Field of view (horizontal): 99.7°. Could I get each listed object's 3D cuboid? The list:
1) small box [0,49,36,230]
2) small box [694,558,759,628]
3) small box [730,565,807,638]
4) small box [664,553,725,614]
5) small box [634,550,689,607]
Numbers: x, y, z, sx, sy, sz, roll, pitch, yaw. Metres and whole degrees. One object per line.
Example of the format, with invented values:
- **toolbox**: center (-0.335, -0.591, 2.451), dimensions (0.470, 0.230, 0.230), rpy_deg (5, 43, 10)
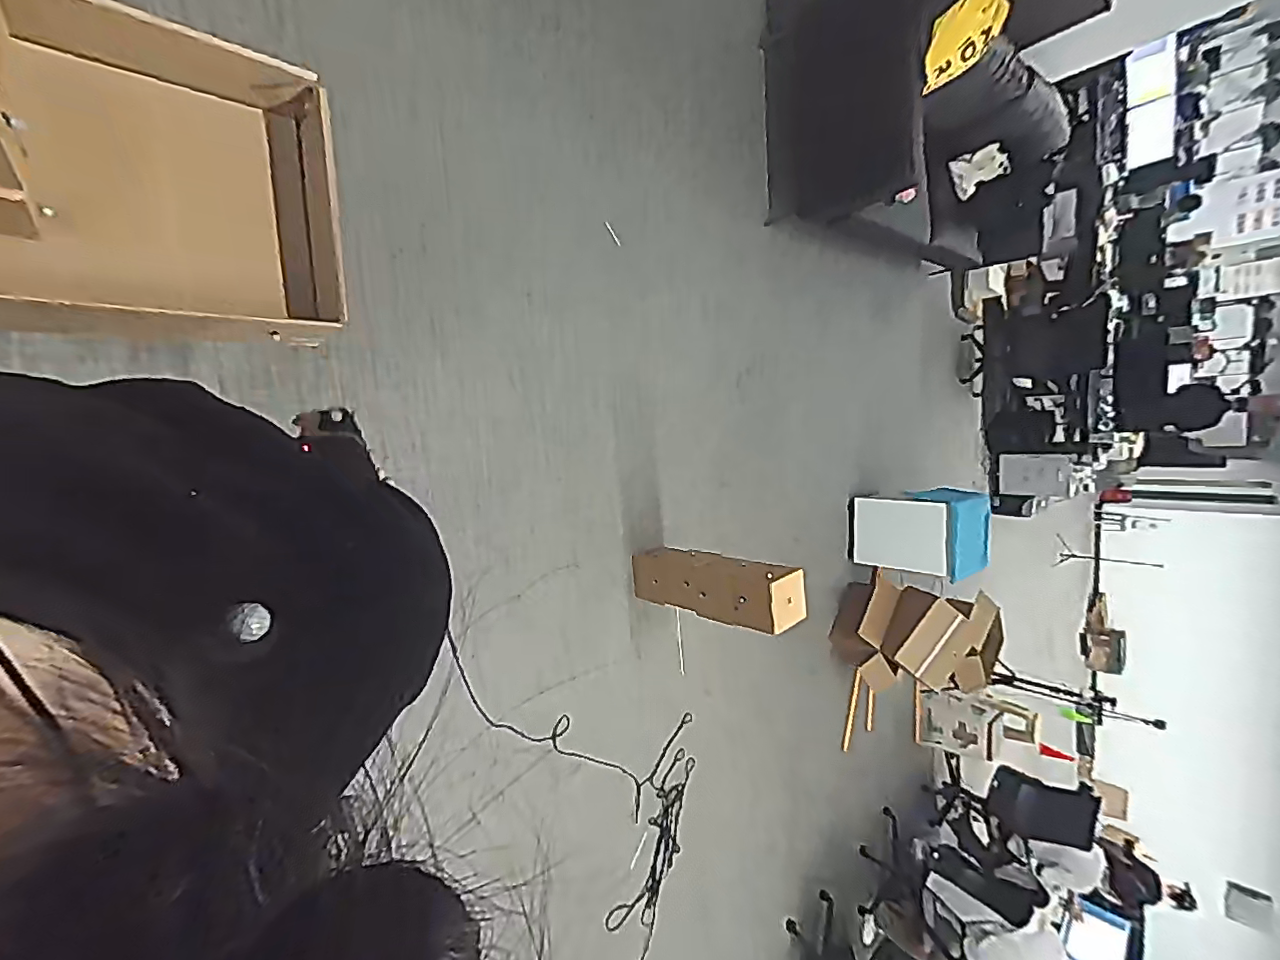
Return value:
- **small box**: center (-0.841, -0.410, 0.627), dimensions (0.179, 0.176, 0.168), rpy_deg (-6, 96, -43)
- **small box**: center (0.300, 0.379, 1.843), dimensions (0.168, 0.176, 0.179), rpy_deg (-12, 100, -41)
- **small box**: center (0.407, 0.377, 1.719), dimensions (0.179, 0.176, 0.168), rpy_deg (-12, 99, -40)
- **small box**: center (0.201, 0.368, 1.973), dimensions (0.168, 0.176, 0.179), rpy_deg (-10, 98, -41)
- **small box**: center (0.091, 0.374, 2.095), dimensions (0.168, 0.176, 0.179), rpy_deg (-10, 99, -42)
